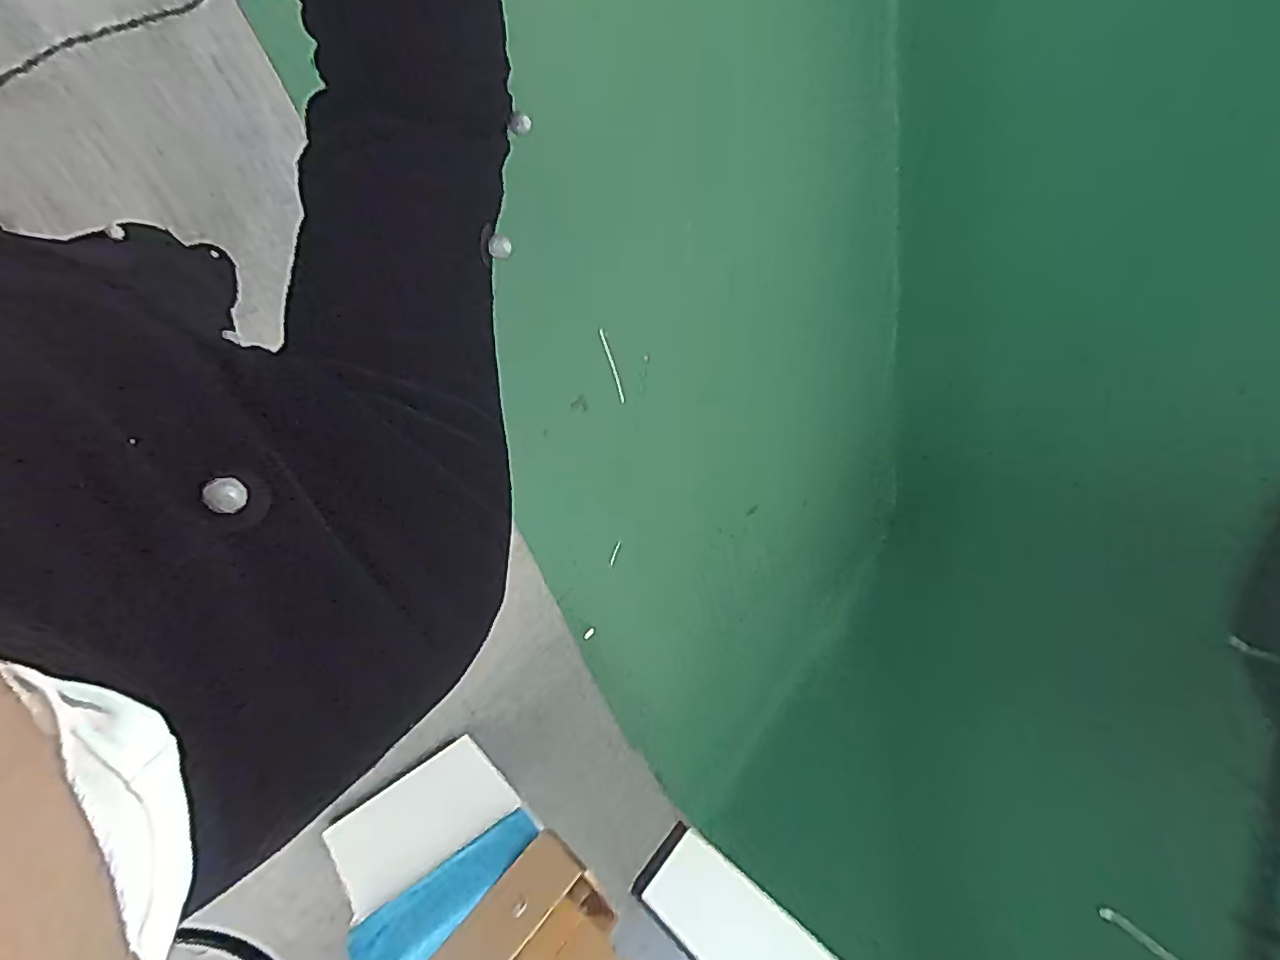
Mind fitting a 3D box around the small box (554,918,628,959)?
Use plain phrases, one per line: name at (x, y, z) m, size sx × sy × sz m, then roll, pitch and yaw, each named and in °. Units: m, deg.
small box at (-0.125, 1.335, 1.449) m, size 0.179 × 0.176 × 0.168 m, roll -40°, pitch 130°, yaw -27°
